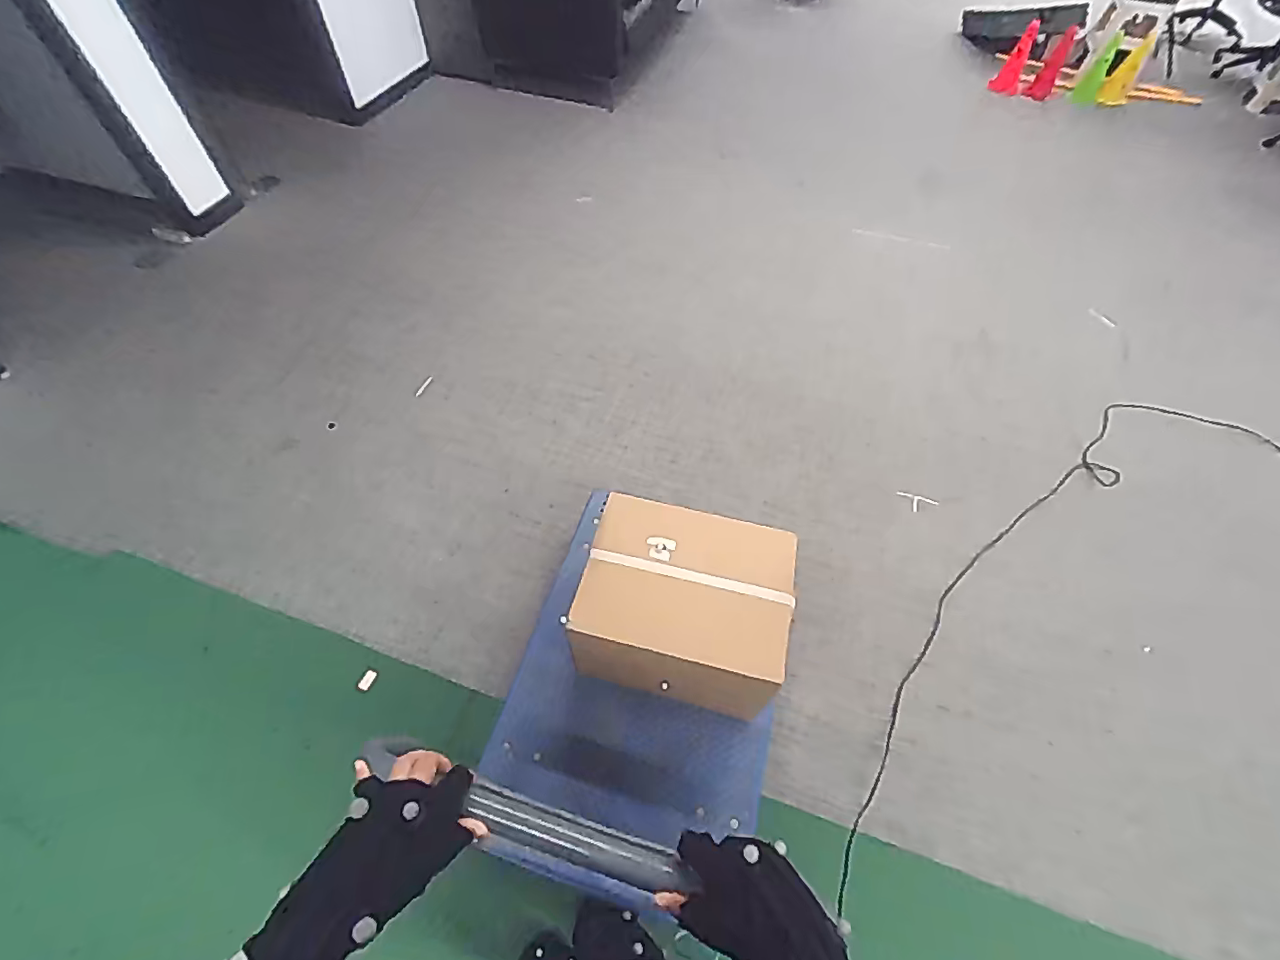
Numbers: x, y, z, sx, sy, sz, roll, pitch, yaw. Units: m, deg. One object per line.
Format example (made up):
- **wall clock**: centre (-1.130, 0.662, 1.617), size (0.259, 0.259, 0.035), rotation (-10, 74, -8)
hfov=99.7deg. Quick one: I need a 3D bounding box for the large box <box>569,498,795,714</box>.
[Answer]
- **large box**: centre (0.095, 0.281, 1.181), size (0.408, 0.320, 0.320), rotation (12, 55, 8)
